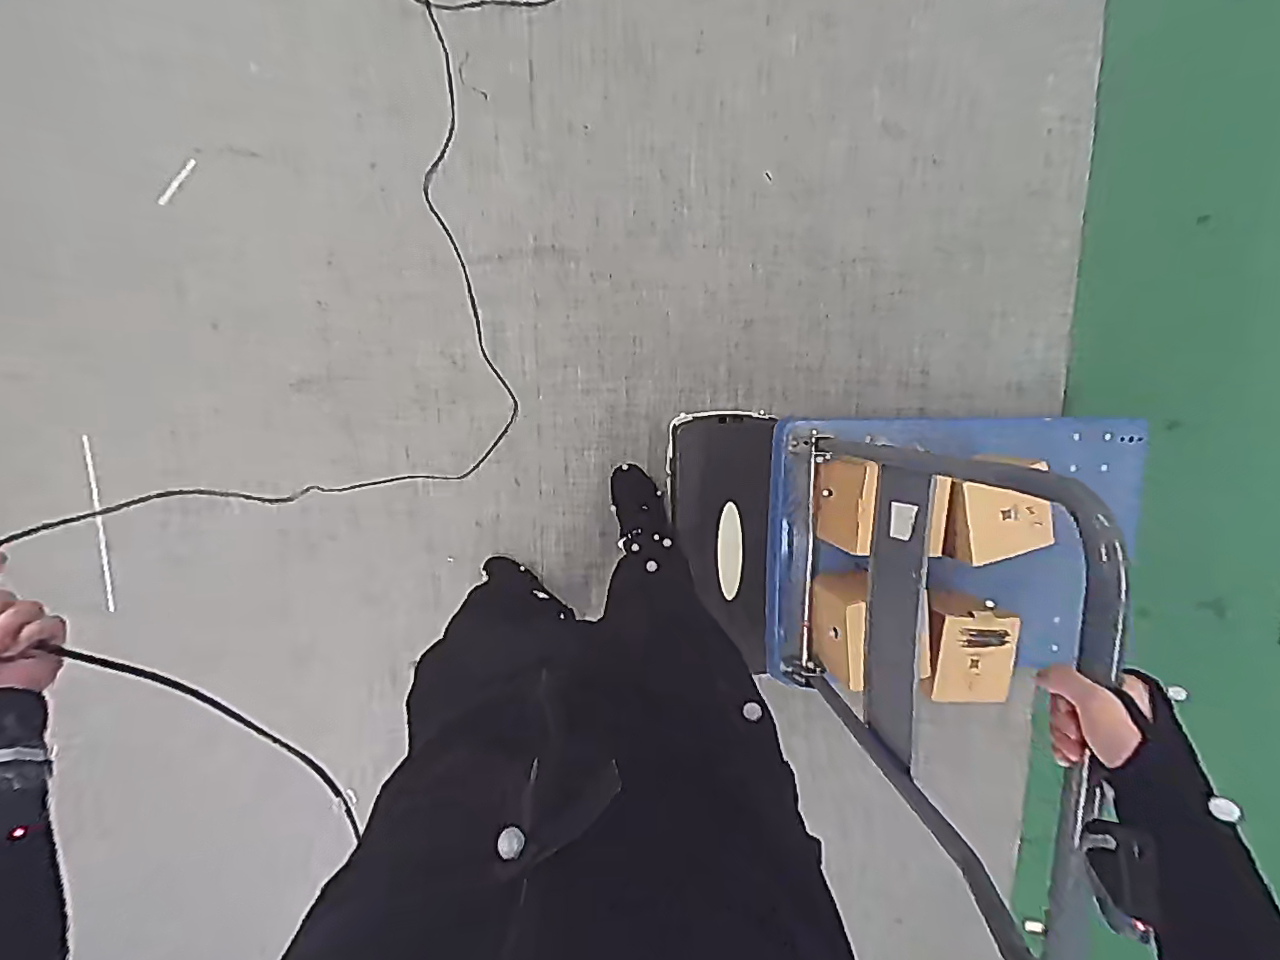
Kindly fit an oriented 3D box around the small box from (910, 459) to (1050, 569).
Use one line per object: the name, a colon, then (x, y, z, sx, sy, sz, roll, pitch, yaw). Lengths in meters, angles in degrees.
small box: (0.665, 0.061, 1.079, 0.179, 0.176, 0.168, -14, 100, -7)
